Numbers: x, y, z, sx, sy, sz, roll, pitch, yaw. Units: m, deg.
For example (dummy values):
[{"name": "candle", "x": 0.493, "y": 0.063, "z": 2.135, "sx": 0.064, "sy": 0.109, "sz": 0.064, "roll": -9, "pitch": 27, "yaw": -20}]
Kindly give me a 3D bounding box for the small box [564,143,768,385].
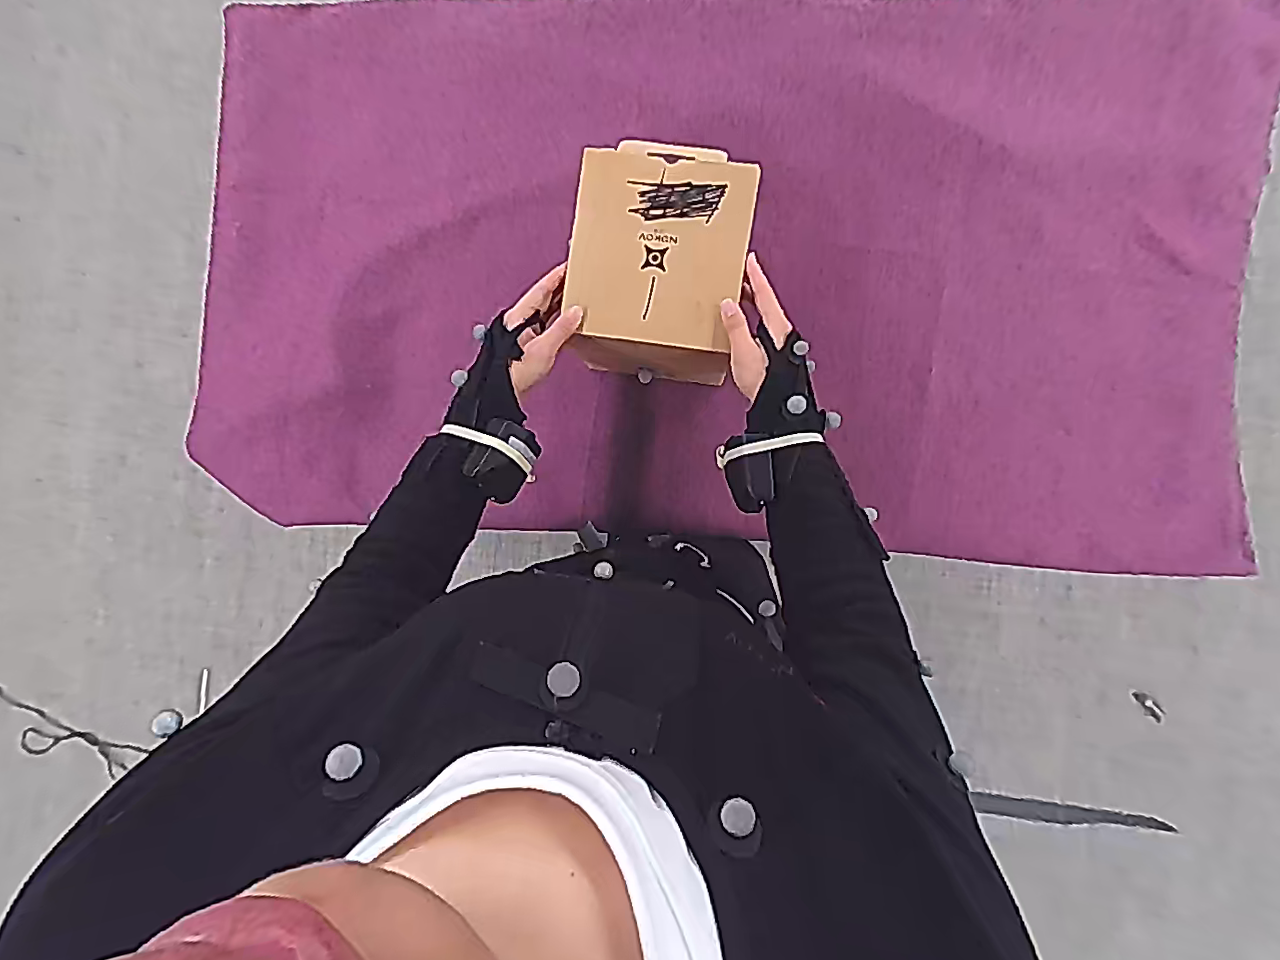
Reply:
[{"name": "small box", "x": 0.029, "y": -0.211, "z": 0.570, "sx": 0.168, "sy": 0.176, "sz": 0.179, "roll": 9, "pitch": 90, "yaw": 5}]
